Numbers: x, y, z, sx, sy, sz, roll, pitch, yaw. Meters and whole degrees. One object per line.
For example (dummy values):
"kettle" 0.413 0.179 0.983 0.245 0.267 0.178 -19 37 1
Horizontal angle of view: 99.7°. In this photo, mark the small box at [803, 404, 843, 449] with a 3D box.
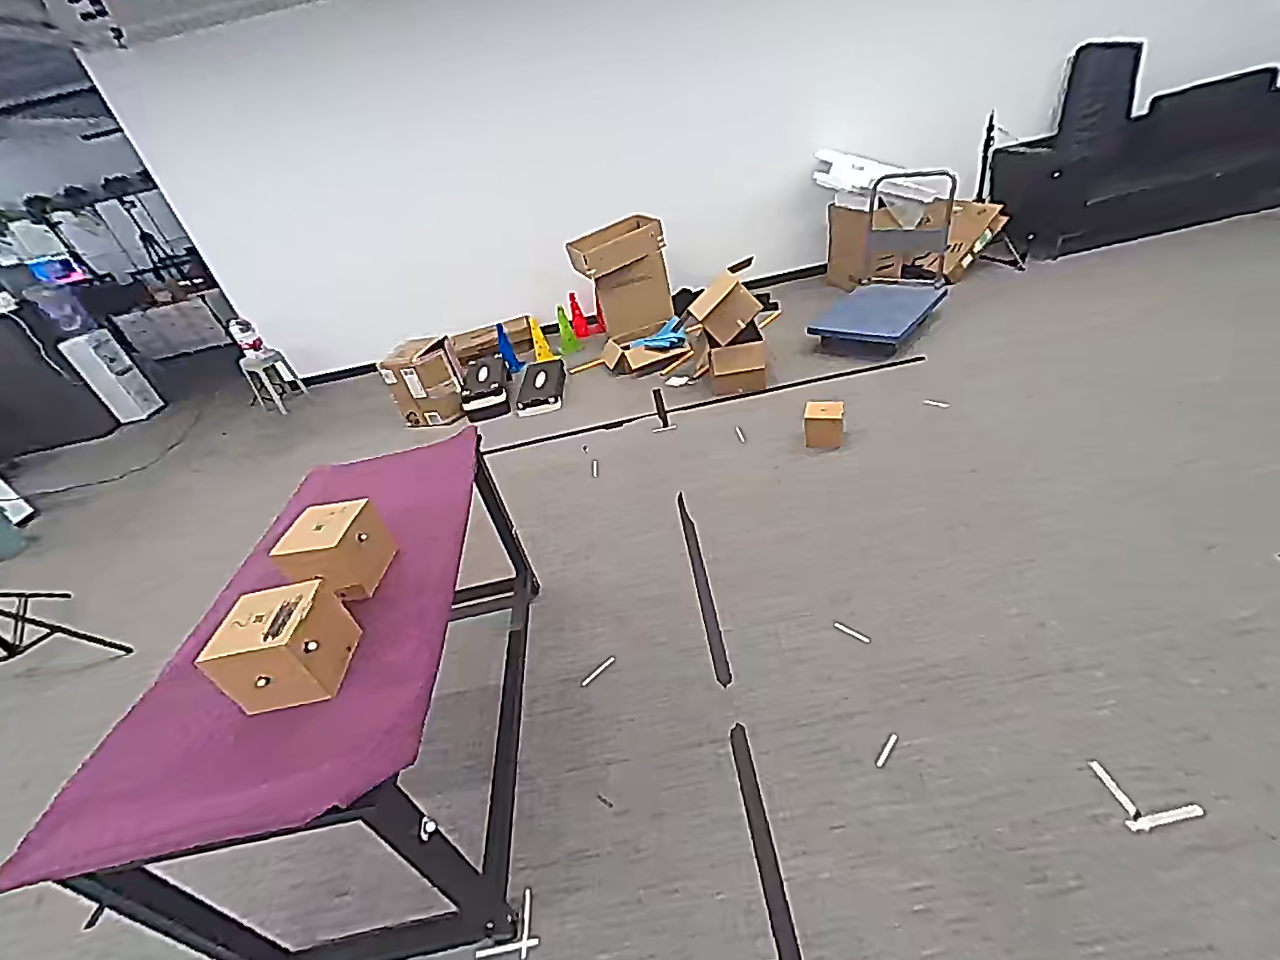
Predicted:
"small box" 0.916 -0.264 2.695 0.179 0.176 0.168 3 37 22

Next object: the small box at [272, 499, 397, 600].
"small box" -0.717 0.171 1.296 0.168 0.176 0.179 -7 34 7
